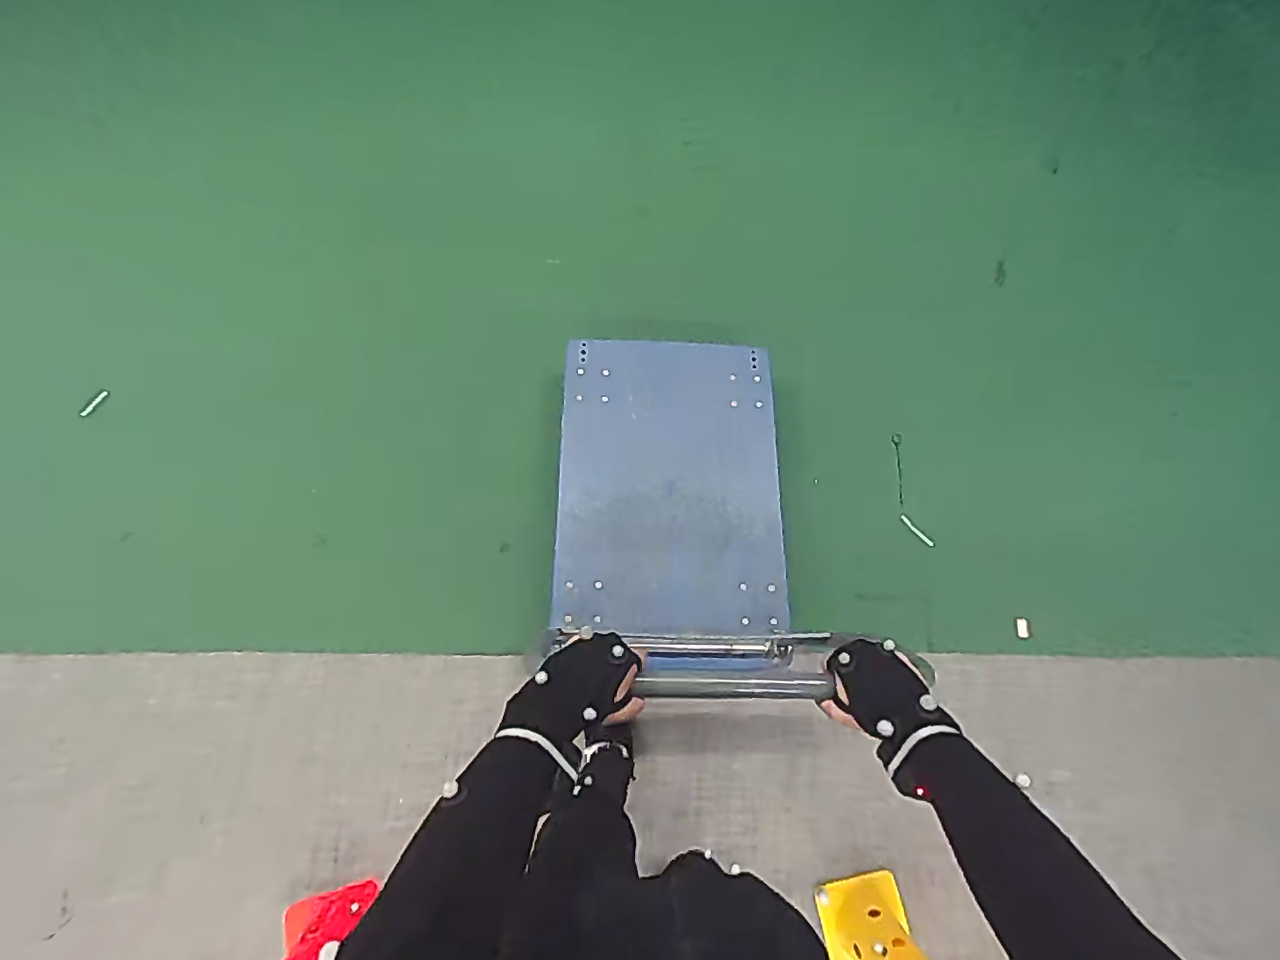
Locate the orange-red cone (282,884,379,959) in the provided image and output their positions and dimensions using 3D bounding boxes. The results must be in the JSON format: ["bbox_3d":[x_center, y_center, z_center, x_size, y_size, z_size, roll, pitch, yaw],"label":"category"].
[{"bbox_3d":[-0.658,0.950,1.004,0.199,0.360,0.198,-13,72,-7],"label":"orange-red cone"}]
